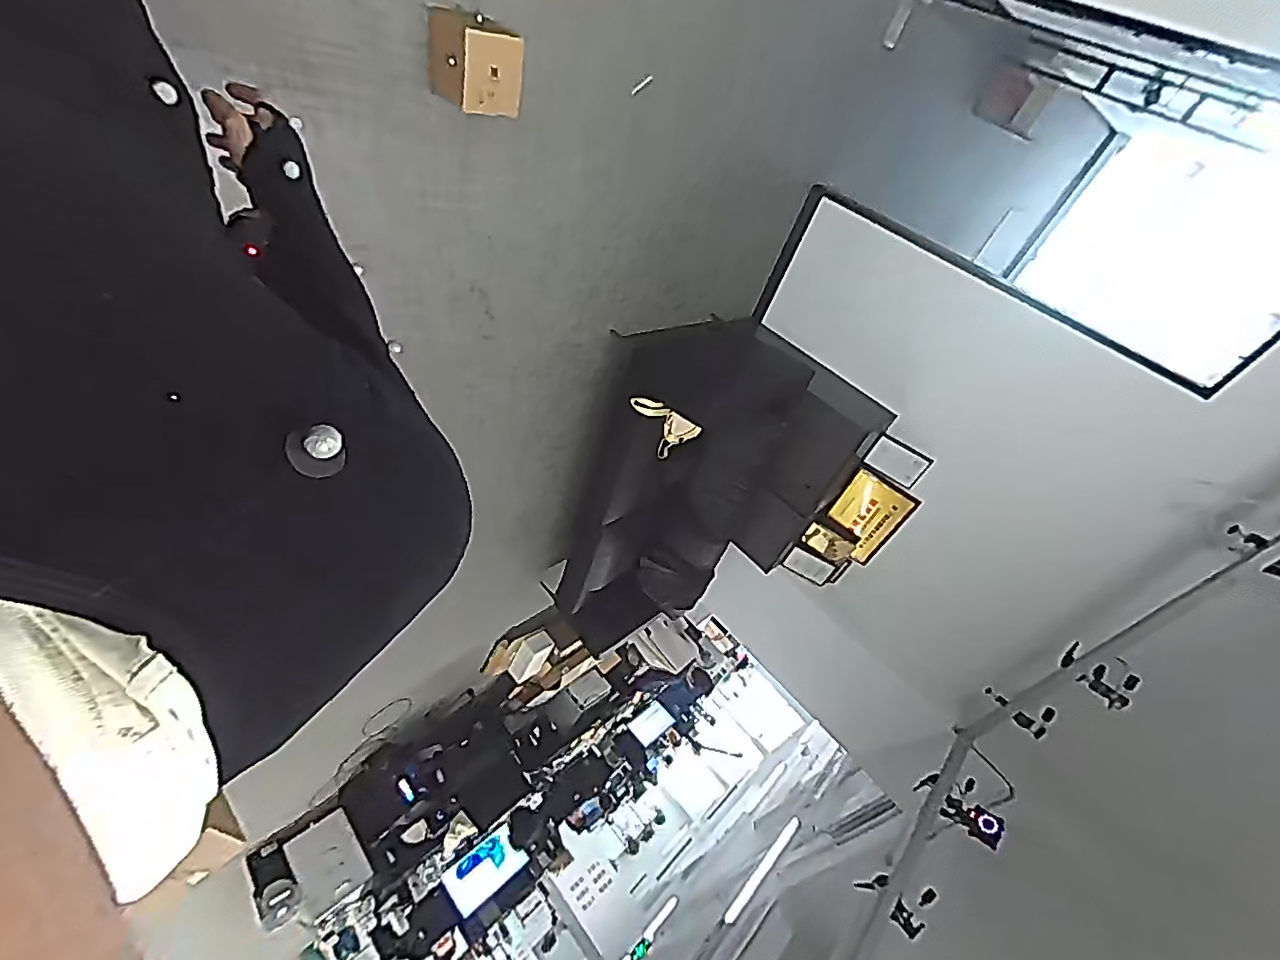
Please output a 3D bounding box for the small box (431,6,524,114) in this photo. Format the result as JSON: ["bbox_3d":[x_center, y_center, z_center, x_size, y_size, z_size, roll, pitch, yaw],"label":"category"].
[{"bbox_3d":[-0.418,-1.069,1.380,0.168,0.176,0.179,-26,150,-38],"label":"small box"}]
